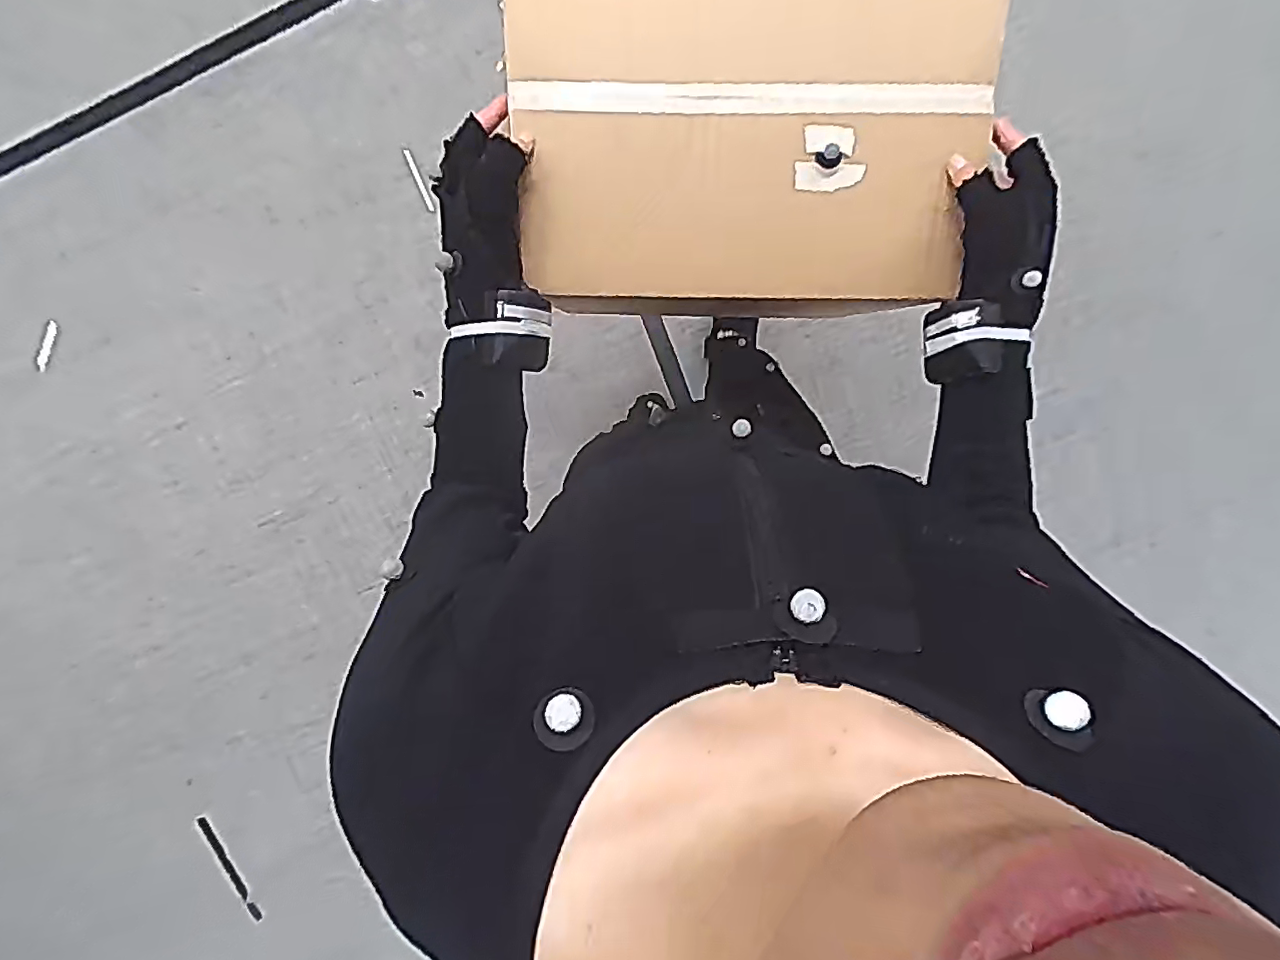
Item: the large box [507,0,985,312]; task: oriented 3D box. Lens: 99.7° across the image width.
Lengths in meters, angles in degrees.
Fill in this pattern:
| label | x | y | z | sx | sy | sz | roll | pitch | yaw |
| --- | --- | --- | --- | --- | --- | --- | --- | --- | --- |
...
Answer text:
| label | x | y | z | sx | sy | sz | roll | pitch | yaw |
| --- | --- | --- | --- | --- | --- | --- | --- | --- | --- |
| large box | 0.086 | -0.364 | 0.609 | 0.408 | 0.320 | 0.320 | 0 | 104 | -1 |
